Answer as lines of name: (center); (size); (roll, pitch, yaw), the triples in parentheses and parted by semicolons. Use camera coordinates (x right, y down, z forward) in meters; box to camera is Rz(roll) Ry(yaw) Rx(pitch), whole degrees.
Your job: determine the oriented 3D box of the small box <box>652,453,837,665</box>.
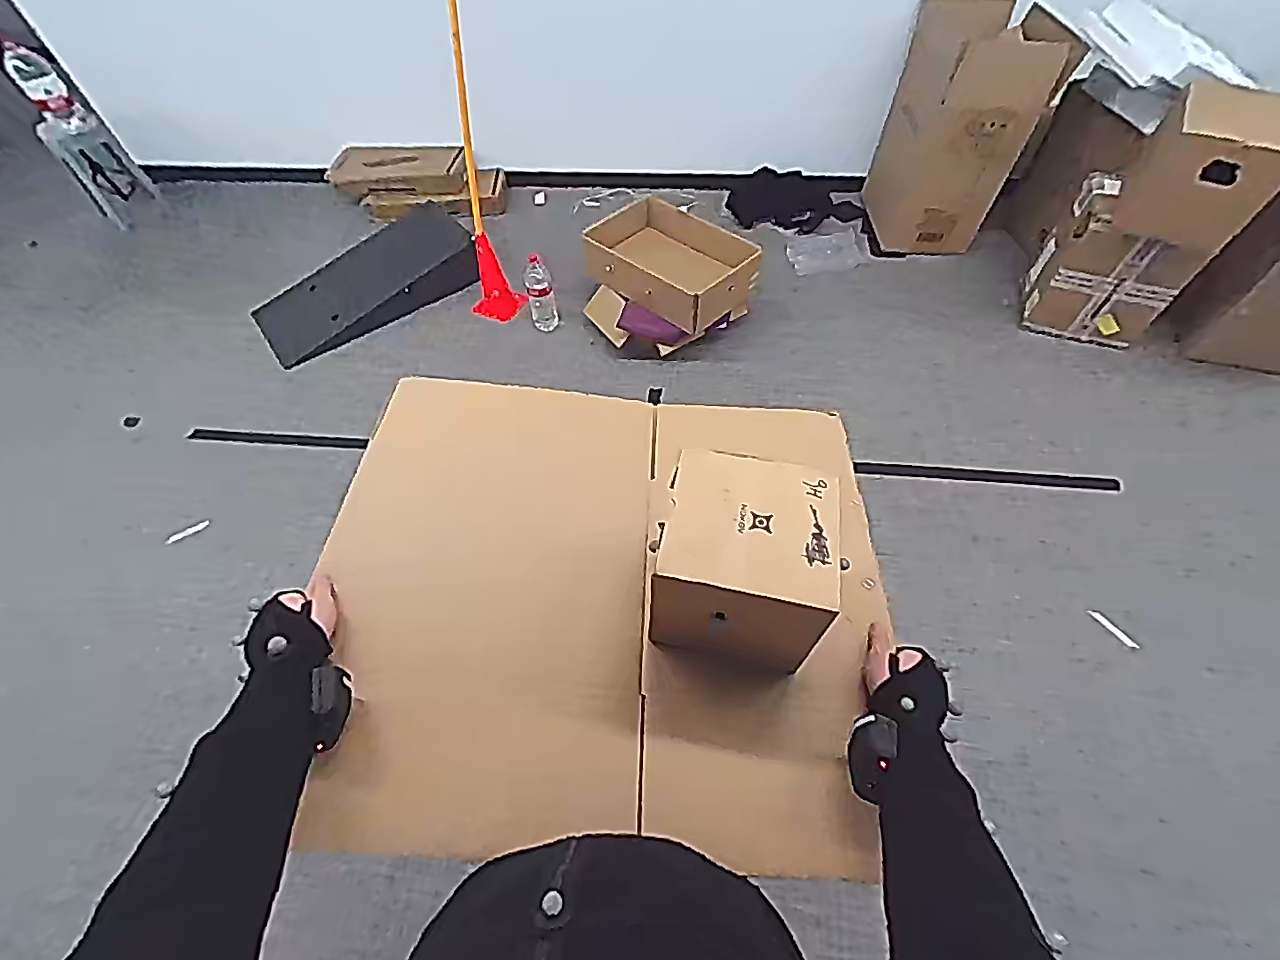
small box: (0.114, 0.094, 0.618); (0.179, 0.176, 0.168); (10, 54, 8)
